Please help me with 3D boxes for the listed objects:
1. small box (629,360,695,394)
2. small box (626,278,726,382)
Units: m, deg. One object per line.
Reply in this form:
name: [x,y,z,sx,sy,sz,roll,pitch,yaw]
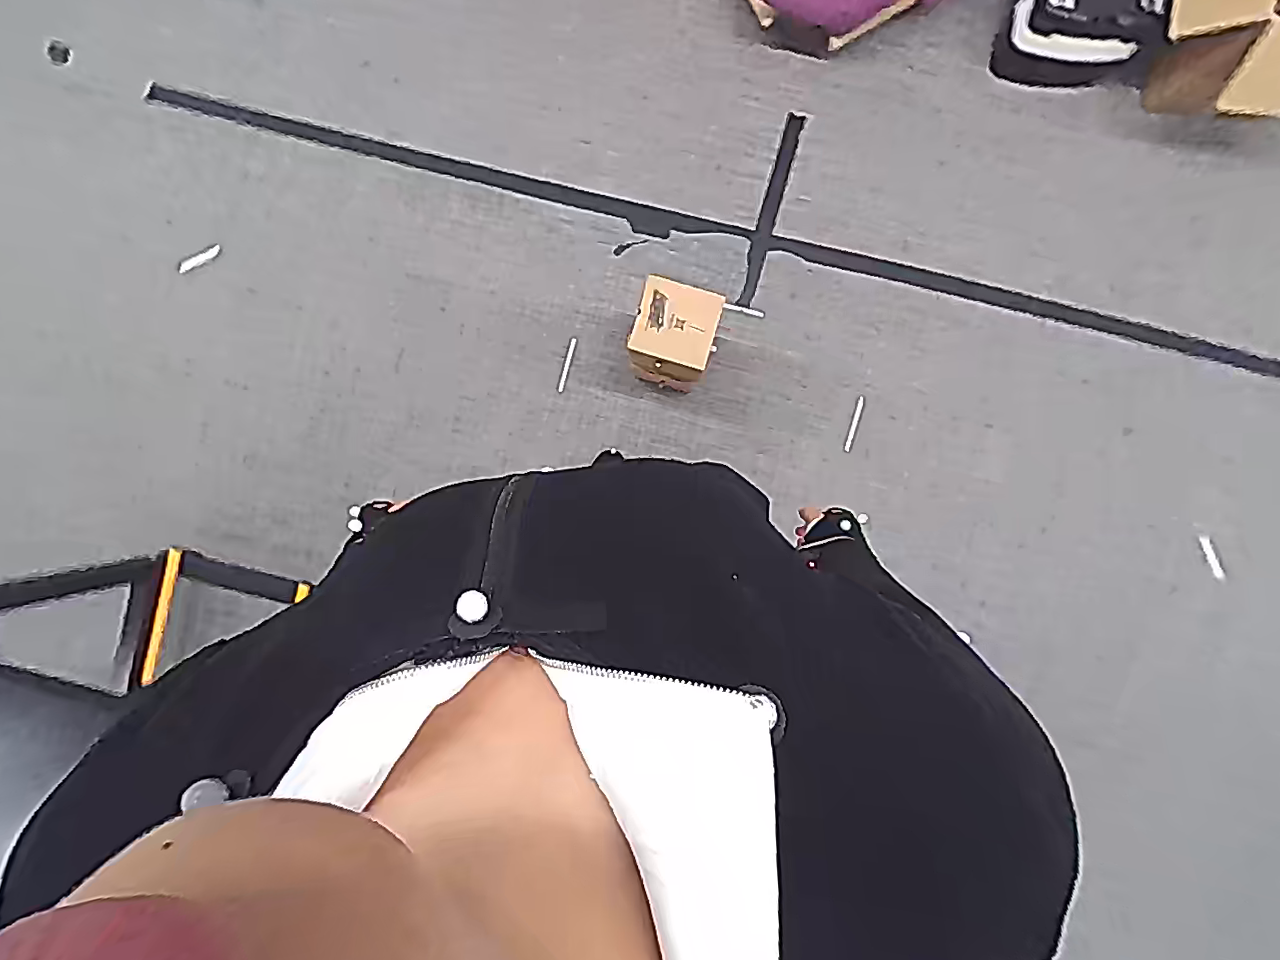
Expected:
small box: [0.080,-0.330,1.394,0.168,0.176,0.179,18,93,2]
small box: [0.078,-0.330,1.228,0.179,0.176,0.168,17,93,1]
